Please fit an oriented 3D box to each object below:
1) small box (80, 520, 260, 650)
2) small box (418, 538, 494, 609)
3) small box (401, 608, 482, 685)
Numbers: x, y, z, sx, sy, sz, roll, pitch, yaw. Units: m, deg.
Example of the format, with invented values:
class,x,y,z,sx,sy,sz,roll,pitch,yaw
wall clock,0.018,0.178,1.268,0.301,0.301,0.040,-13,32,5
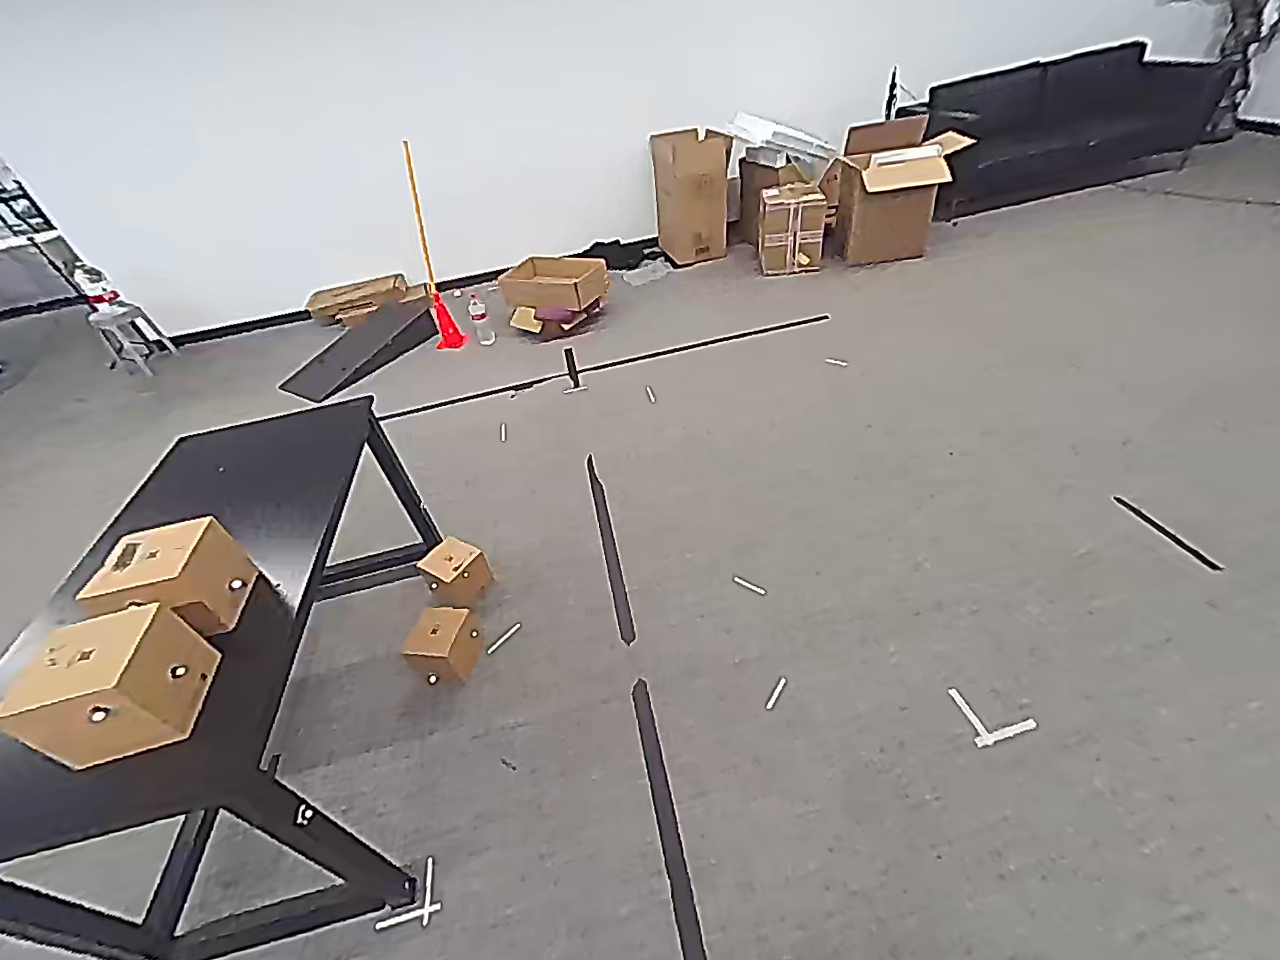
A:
class,x,y,z,sx,sy,sz,roll,pitch,yaw
small box,-0.907,0.209,1.065,0.179,0.176,0.168,-13,40,-5
small box,-0.673,0.346,1.987,0.179,0.176,0.168,17,47,28
small box,-0.633,0.540,1.757,0.168,0.176,0.179,0,42,12
